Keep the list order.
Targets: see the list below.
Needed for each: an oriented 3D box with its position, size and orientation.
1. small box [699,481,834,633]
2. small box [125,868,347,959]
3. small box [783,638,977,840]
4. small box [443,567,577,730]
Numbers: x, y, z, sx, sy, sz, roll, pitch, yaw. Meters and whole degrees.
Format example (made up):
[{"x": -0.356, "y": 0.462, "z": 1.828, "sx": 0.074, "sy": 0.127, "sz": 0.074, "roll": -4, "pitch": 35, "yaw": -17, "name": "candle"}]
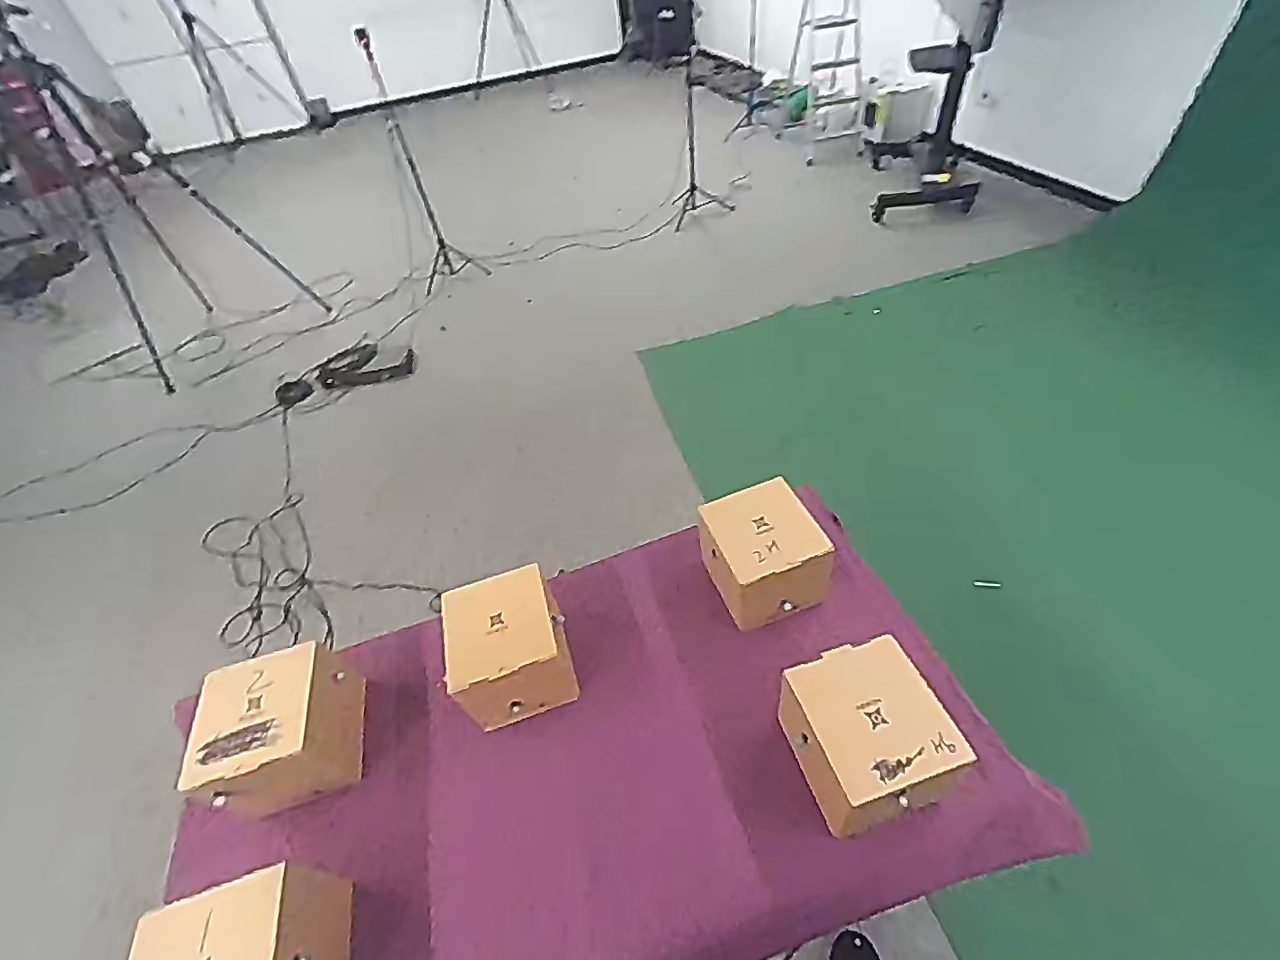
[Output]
[{"x": 0.215, "y": 0.137, "z": 0.957, "sx": 0.168, "sy": 0.176, "sz": 0.179, "roll": -20, "pitch": 48, "yaw": -6, "name": "small box"}, {"x": -0.466, "y": 0.594, "z": 0.630, "sx": 0.168, "sy": 0.176, "sz": 0.179, "roll": -17, "pitch": 46, "yaw": -8, "name": "small box"}, {"x": 0.307, "y": 0.353, "z": 0.741, "sx": 0.168, "sy": 0.176, "sz": 0.179, "roll": -17, "pitch": 44, "yaw": -6, "name": "small box"}, {"x": -0.212, "y": 0.279, "z": 0.894, "sx": 0.168, "sy": 0.176, "sz": 0.179, "roll": -17, "pitch": 48, "yaw": -8, "name": "small box"}]
